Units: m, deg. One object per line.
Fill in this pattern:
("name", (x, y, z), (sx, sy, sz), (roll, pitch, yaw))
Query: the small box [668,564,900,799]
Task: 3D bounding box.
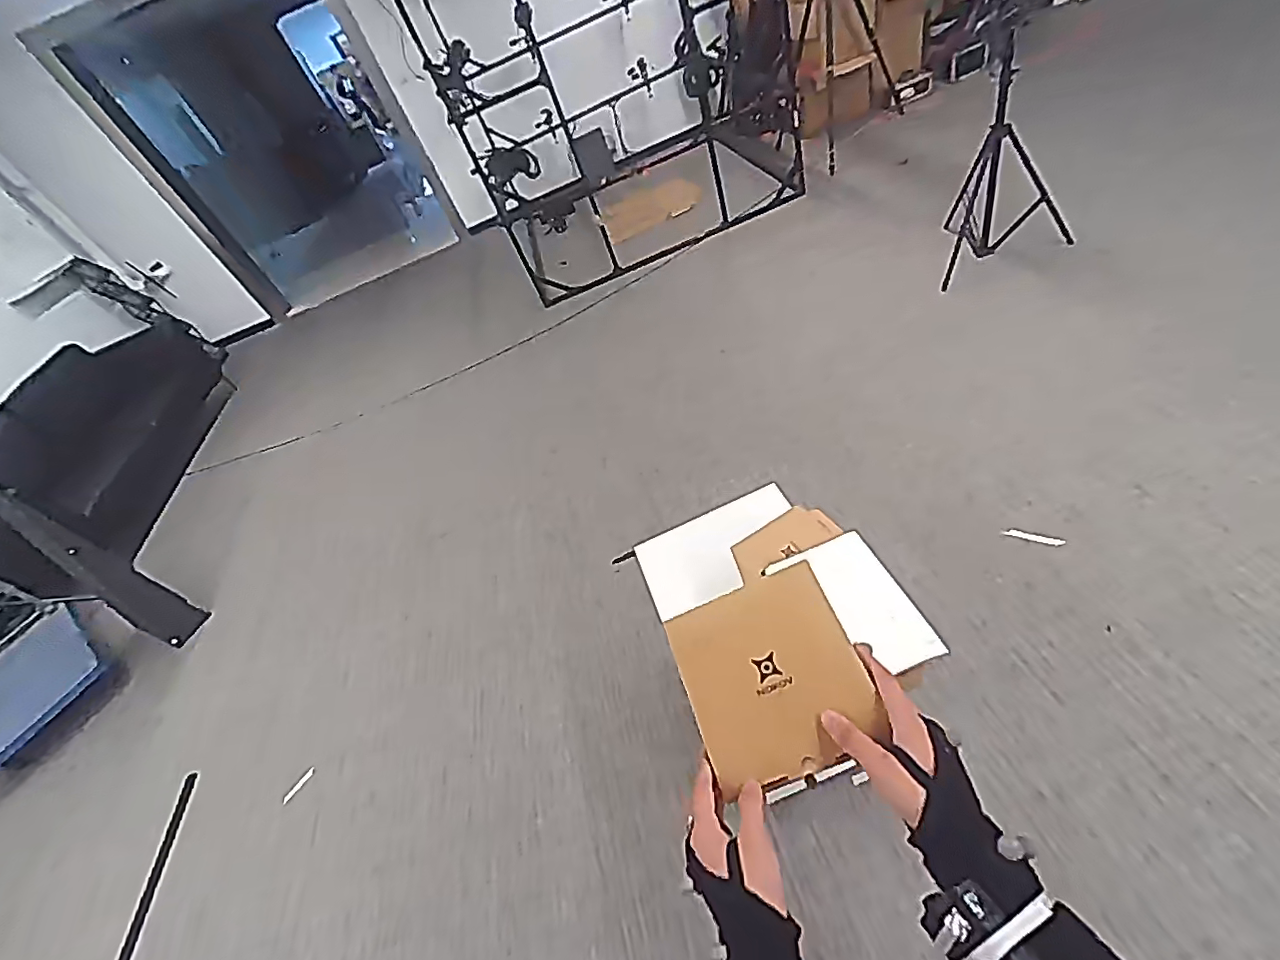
("small box", (0.151, 0.221, 0.585), (0.168, 0.176, 0.179), (-26, 58, 7))
